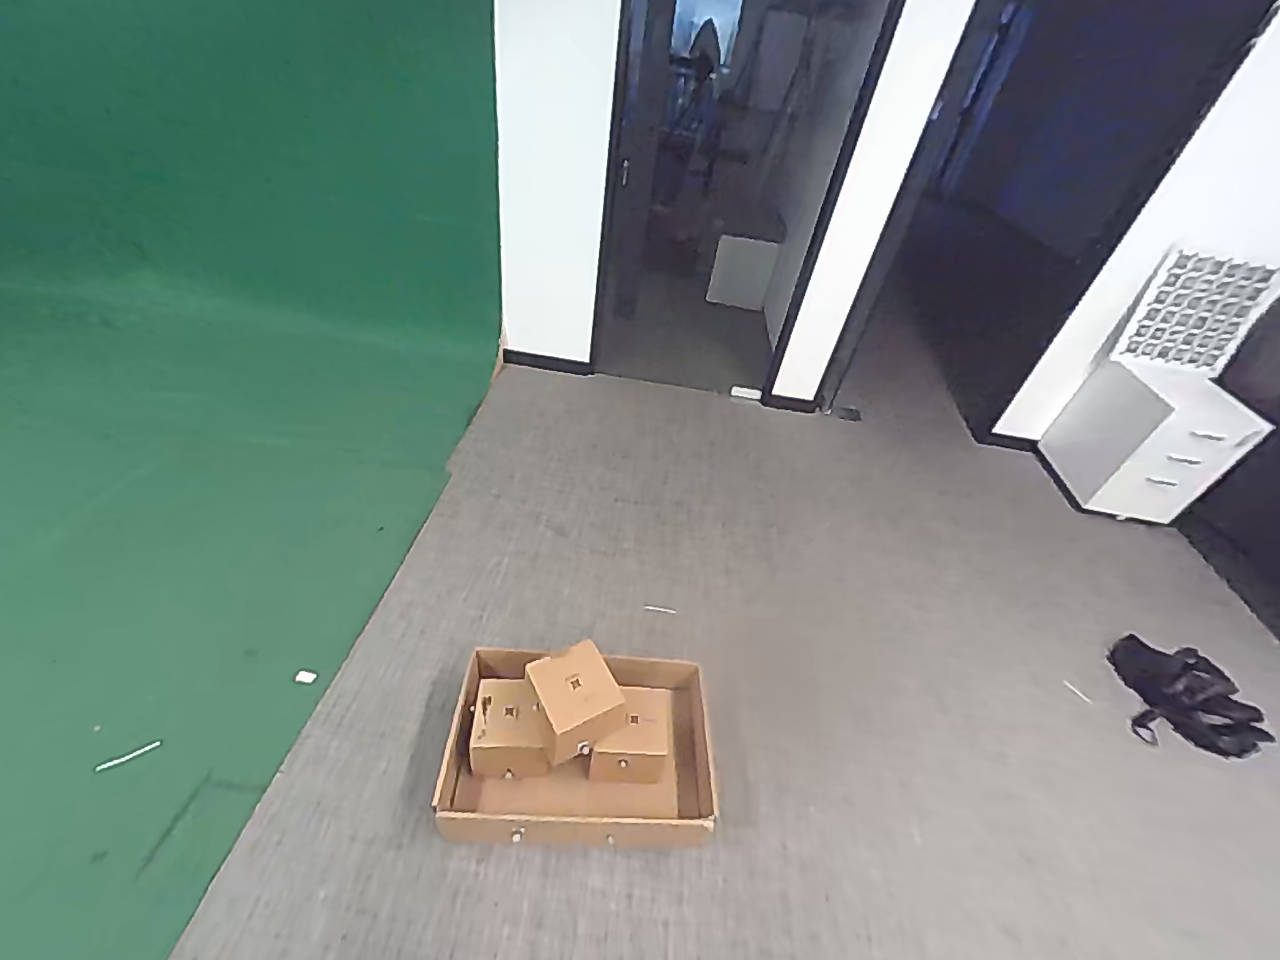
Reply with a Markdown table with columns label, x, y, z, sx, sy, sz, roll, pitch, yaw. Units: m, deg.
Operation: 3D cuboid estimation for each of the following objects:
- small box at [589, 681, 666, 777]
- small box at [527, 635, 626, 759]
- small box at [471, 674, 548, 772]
| label | x | y | z | sx | sy | sz | roll | pitch | yaw |
| --- | --- | --- | --- | --- | --- | --- | --- | --- | --- |
| small box | -0.034 | 0.628 | 1.361 | 0.179 | 0.176 | 0.168 | 6 | 41 | -5 |
| small box | -0.154 | 0.497 | 1.240 | 0.168 | 0.176 | 0.179 | -16 | 49 | -28 |
| small box | -0.313 | 0.601 | 1.332 | 0.179 | 0.176 | 0.168 | 6 | 40 | -9 |
